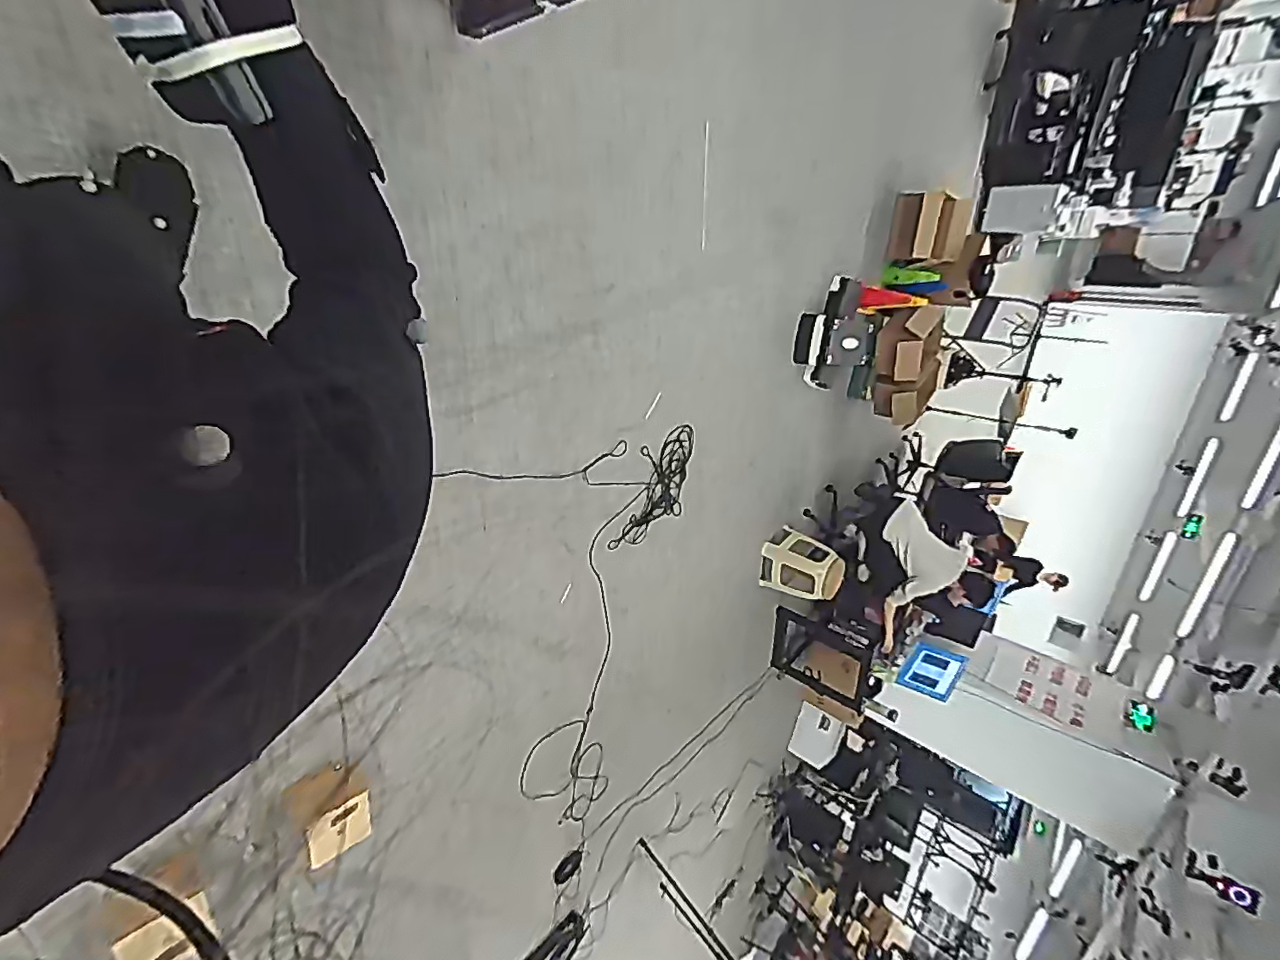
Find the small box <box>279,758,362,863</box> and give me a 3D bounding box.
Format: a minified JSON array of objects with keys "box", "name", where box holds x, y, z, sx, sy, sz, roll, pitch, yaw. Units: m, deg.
[{"box":[-0.949,0.966,1.606,0.168,0.176,0.179,-14,118,-46],"name":"small box"}]
